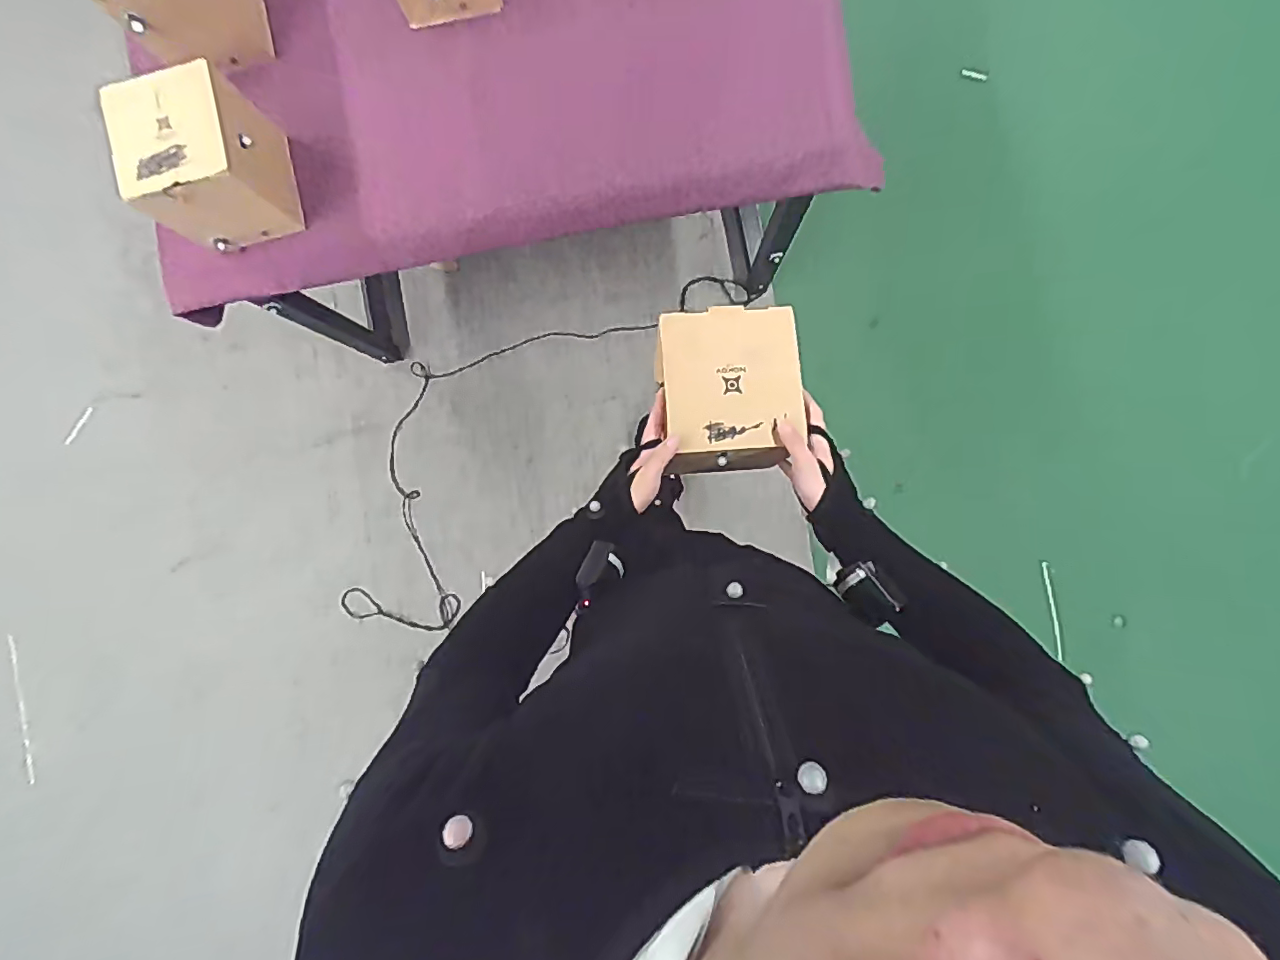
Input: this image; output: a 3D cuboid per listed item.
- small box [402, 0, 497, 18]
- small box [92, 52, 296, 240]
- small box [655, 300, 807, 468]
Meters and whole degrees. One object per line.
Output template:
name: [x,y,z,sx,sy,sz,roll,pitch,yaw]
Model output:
small box: [-0.330,-0.876,0.834,0.168,0.176,0.179,-9,90,2]
small box: [-0.673,-0.498,0.838,0.168,0.176,0.179,-14,87,1]
small box: [0.108,-0.118,0.718,0.168,0.176,0.179,-4,83,-1]
